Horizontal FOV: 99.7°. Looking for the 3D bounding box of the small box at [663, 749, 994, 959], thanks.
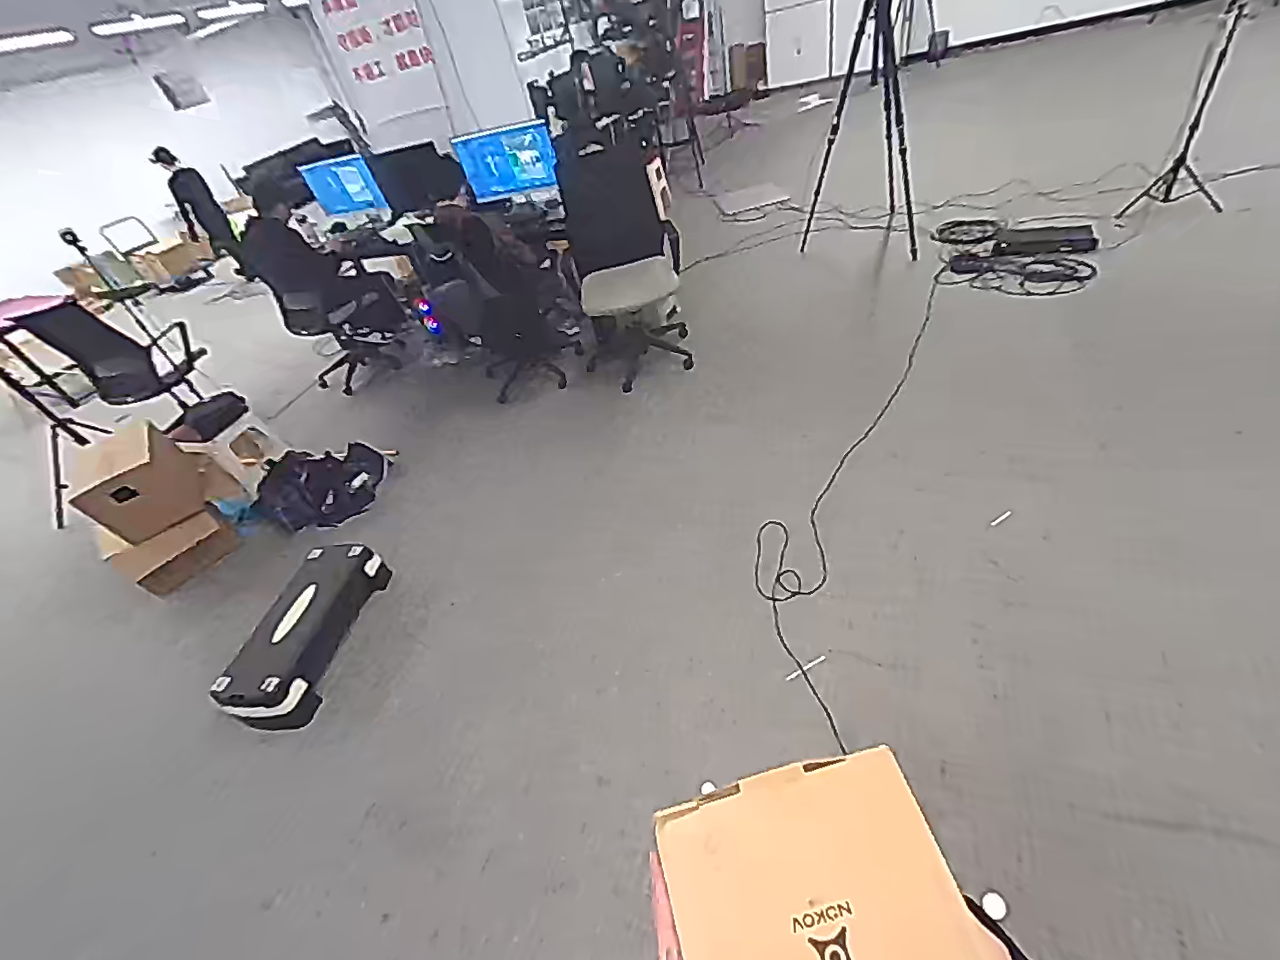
[{"bbox_3d":[0.113,0.310,0.367,0.168,0.176,0.179,-13,54,-5],"label":"small box"}]
